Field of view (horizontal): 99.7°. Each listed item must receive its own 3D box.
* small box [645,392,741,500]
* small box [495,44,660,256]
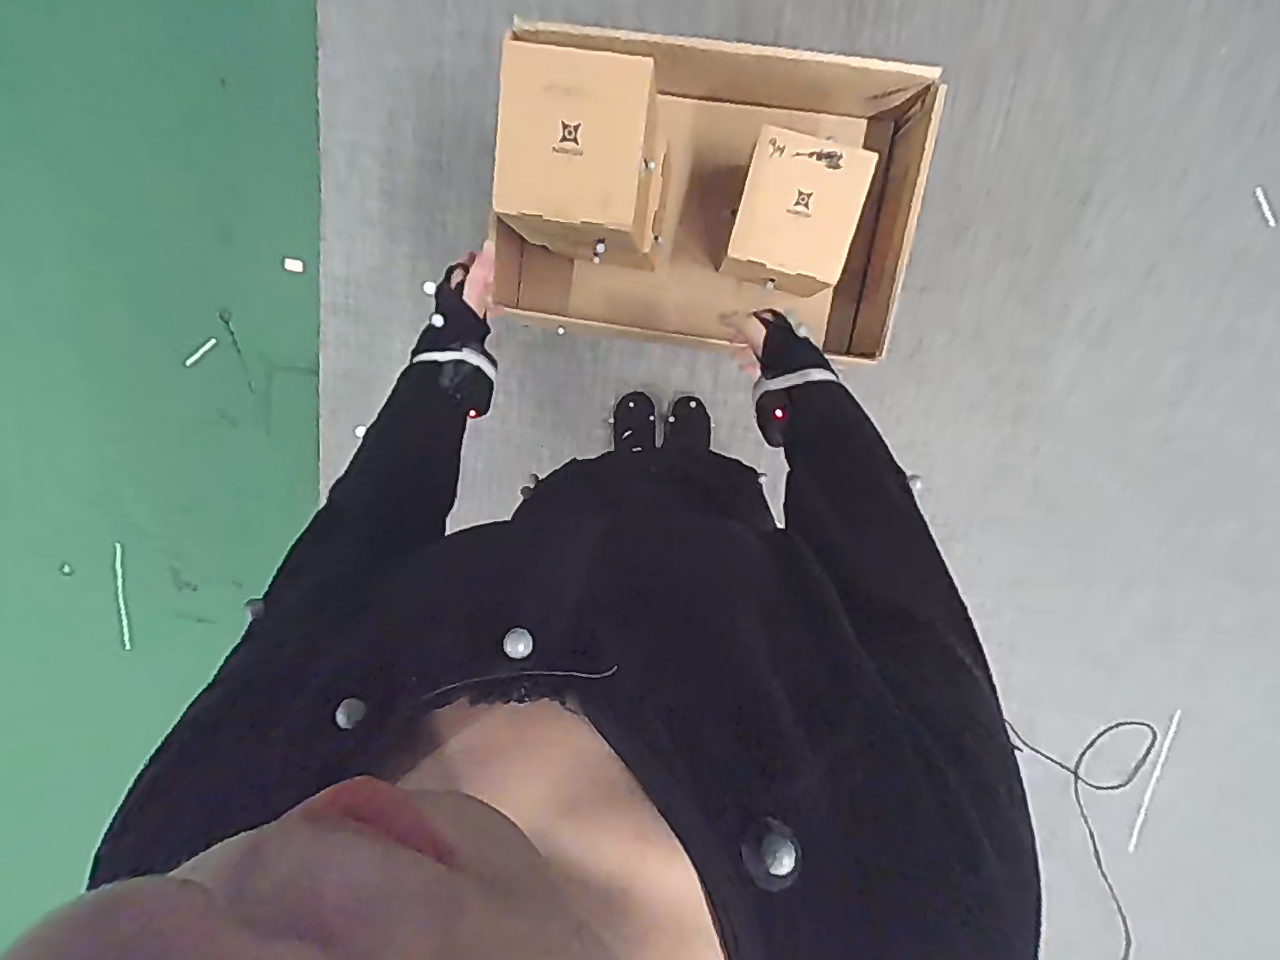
[{"bbox_3d":[0.127,-0.084,1.380,0.179,0.176,0.168,-36,66,-21],"label":"small box"},{"bbox_3d":[-0.069,-0.397,0.684,0.168,0.176,0.179,10,102,2],"label":"small box"}]
